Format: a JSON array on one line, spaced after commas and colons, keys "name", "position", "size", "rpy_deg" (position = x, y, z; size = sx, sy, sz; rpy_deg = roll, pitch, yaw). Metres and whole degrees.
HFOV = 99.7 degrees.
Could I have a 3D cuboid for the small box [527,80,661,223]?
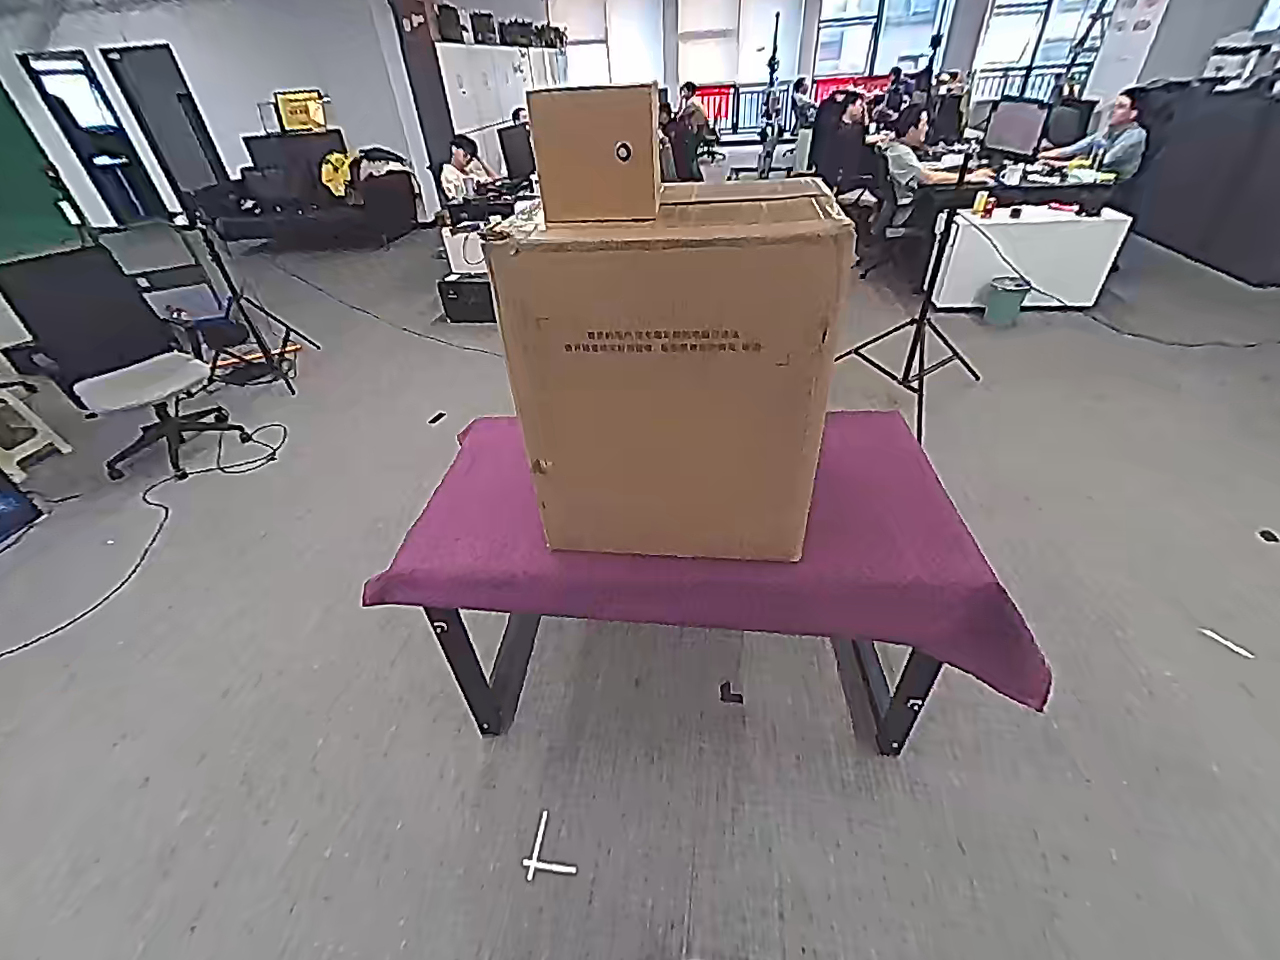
[{"name": "small box", "position": [-0.058, -0.507, 0.835], "size": [0.179, 0.176, 0.168], "rpy_deg": [0, 37, 5]}]
